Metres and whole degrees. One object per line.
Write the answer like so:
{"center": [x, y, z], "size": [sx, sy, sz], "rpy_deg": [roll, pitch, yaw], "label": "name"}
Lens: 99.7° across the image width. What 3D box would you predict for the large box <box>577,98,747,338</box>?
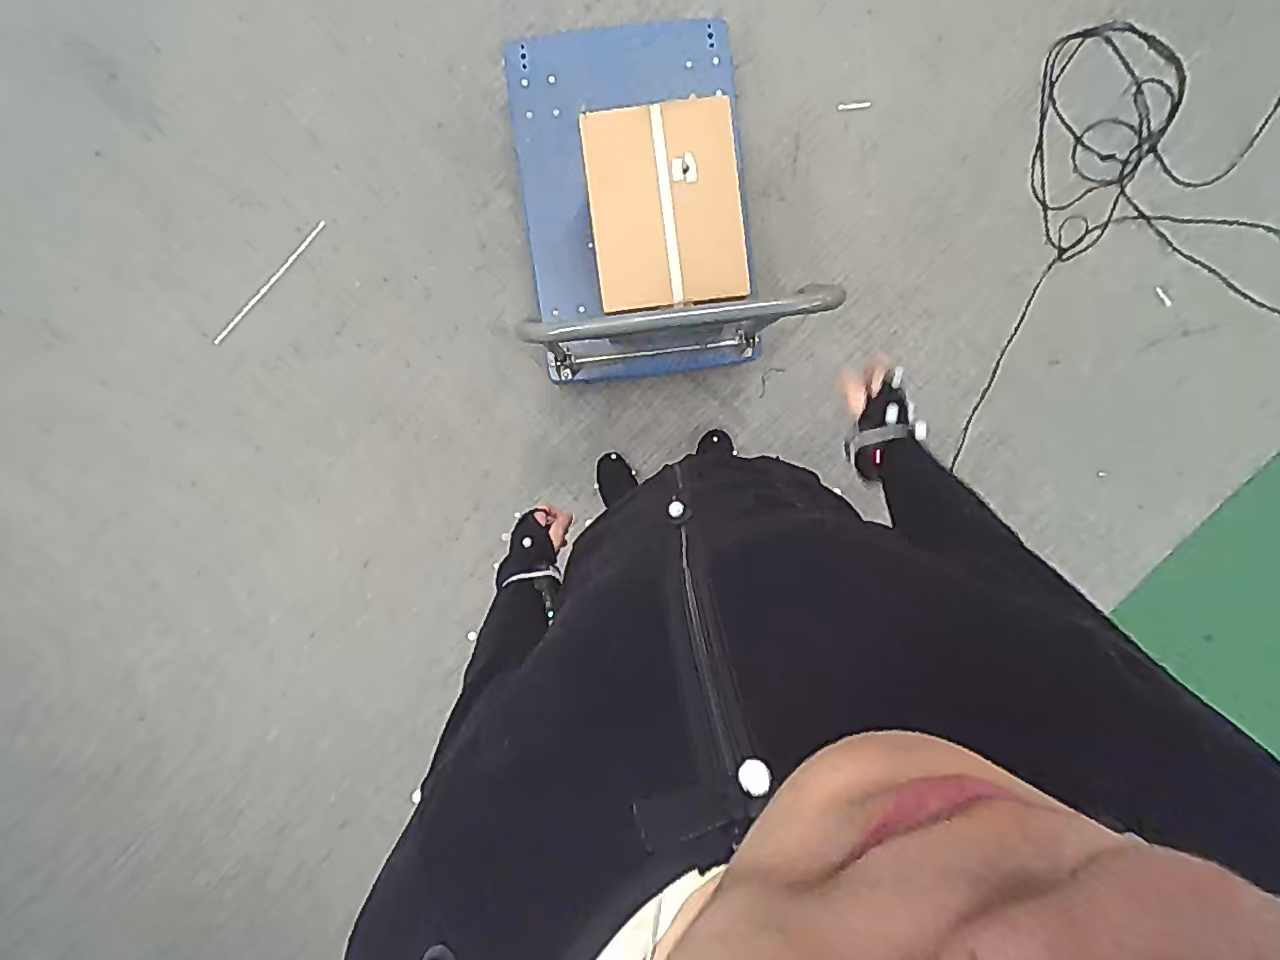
{"center": [0.048, -0.584, 1.280], "size": [0.320, 0.320, 0.408], "rpy_deg": [-7, 93, -1], "label": "large box"}
